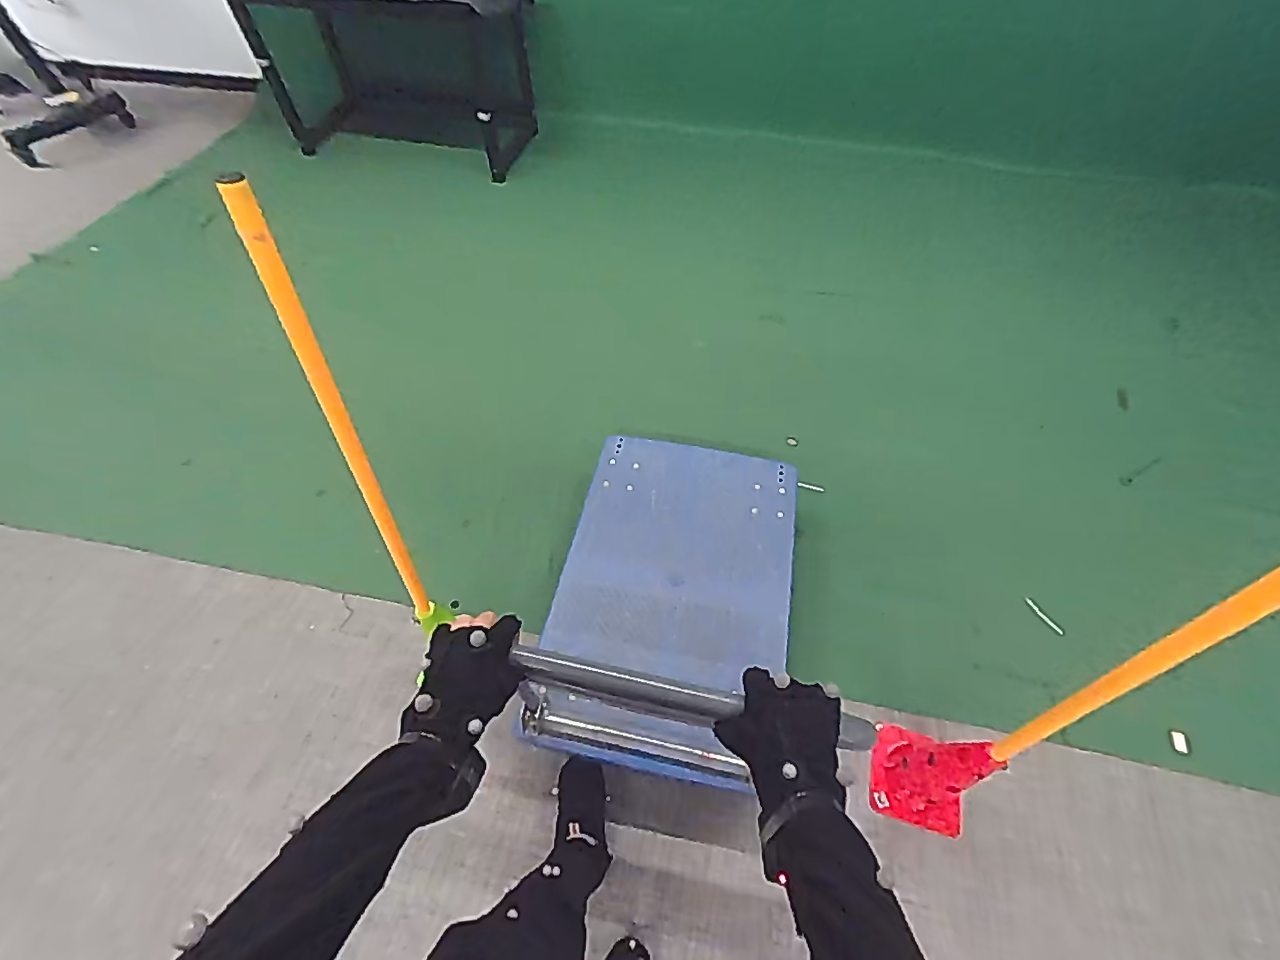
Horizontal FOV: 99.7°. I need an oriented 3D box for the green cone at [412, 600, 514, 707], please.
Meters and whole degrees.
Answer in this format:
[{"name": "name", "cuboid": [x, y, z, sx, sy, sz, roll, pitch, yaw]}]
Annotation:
[{"name": "green cone", "cuboid": [-0.457, 0.376, 1.290, 0.202, 0.368, 0.200, 14, 55, 10]}]
